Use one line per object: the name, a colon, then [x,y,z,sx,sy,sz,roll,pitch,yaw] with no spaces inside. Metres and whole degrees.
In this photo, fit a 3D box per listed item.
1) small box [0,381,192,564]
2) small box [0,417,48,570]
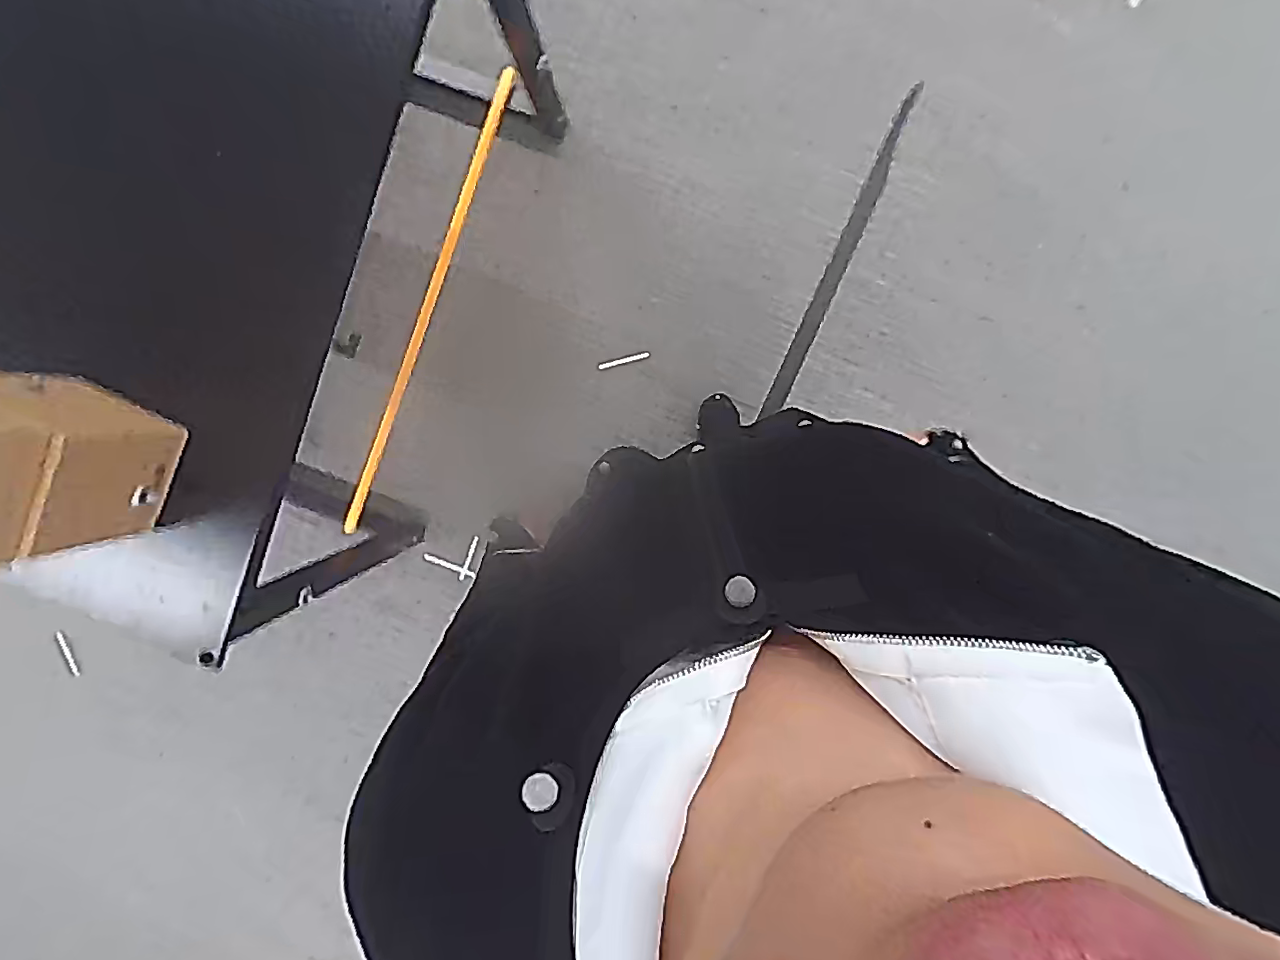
small box: [-0.747,-0.018,0.696,0.179,0.176,0.168,25,98,-2]
small box: [-0.762,0.004,0.533,0.168,0.176,0.179,25,98,0]
